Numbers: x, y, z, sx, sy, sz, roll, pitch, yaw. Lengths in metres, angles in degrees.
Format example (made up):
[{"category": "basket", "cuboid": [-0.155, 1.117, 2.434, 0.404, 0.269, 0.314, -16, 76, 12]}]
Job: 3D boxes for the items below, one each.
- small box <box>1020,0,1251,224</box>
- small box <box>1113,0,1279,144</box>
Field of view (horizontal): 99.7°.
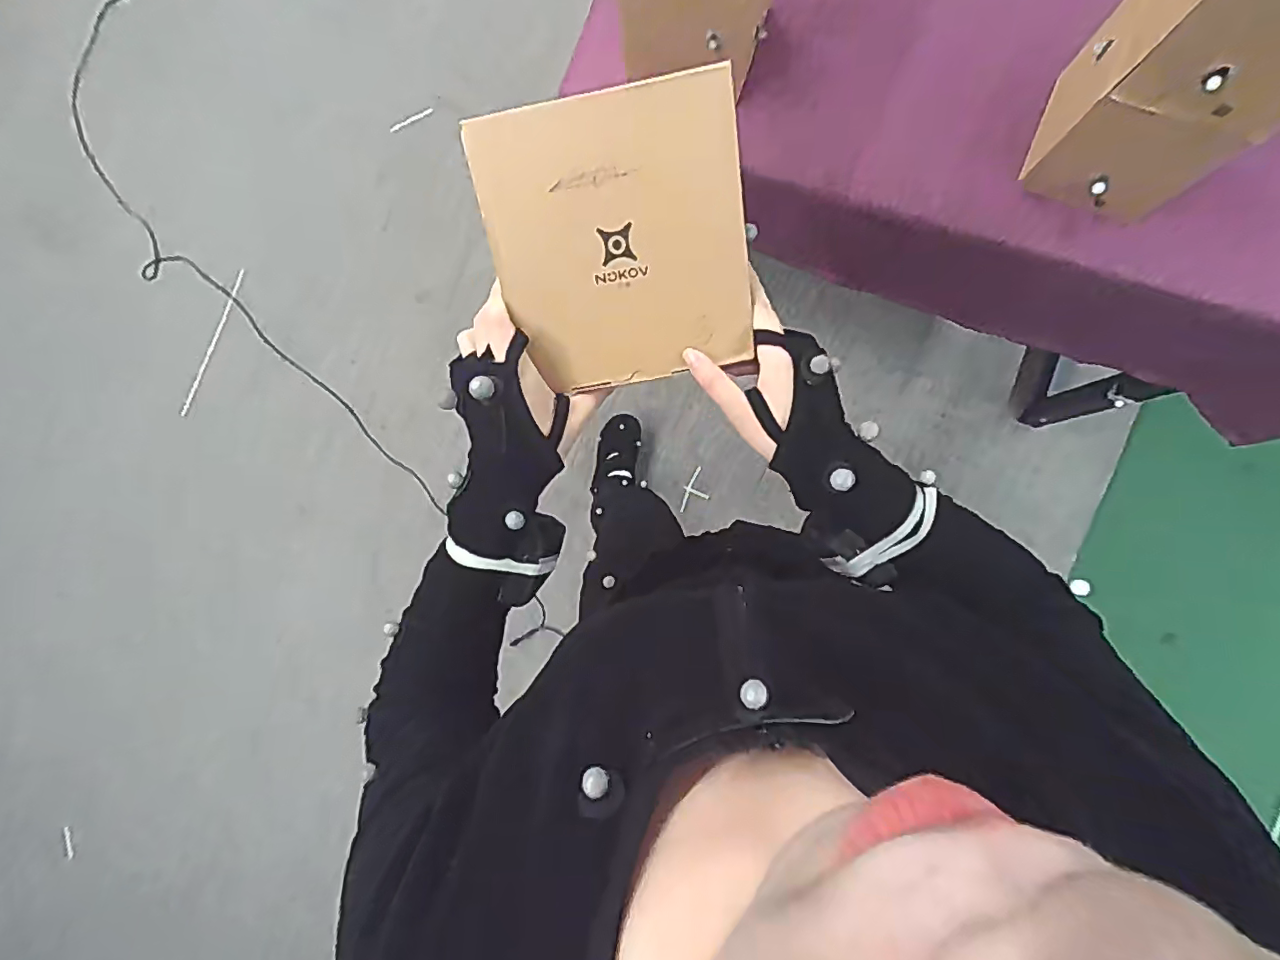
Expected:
[{"category": "small box", "cuboid": [0.624, -0.464, 0.675, 0.168, 0.176, 0.179, 22, 89, 6]}, {"category": "small box", "cuboid": [0.612, -0.473, 0.512, 0.168, 0.176, 0.179, 22, 89, 6]}]
